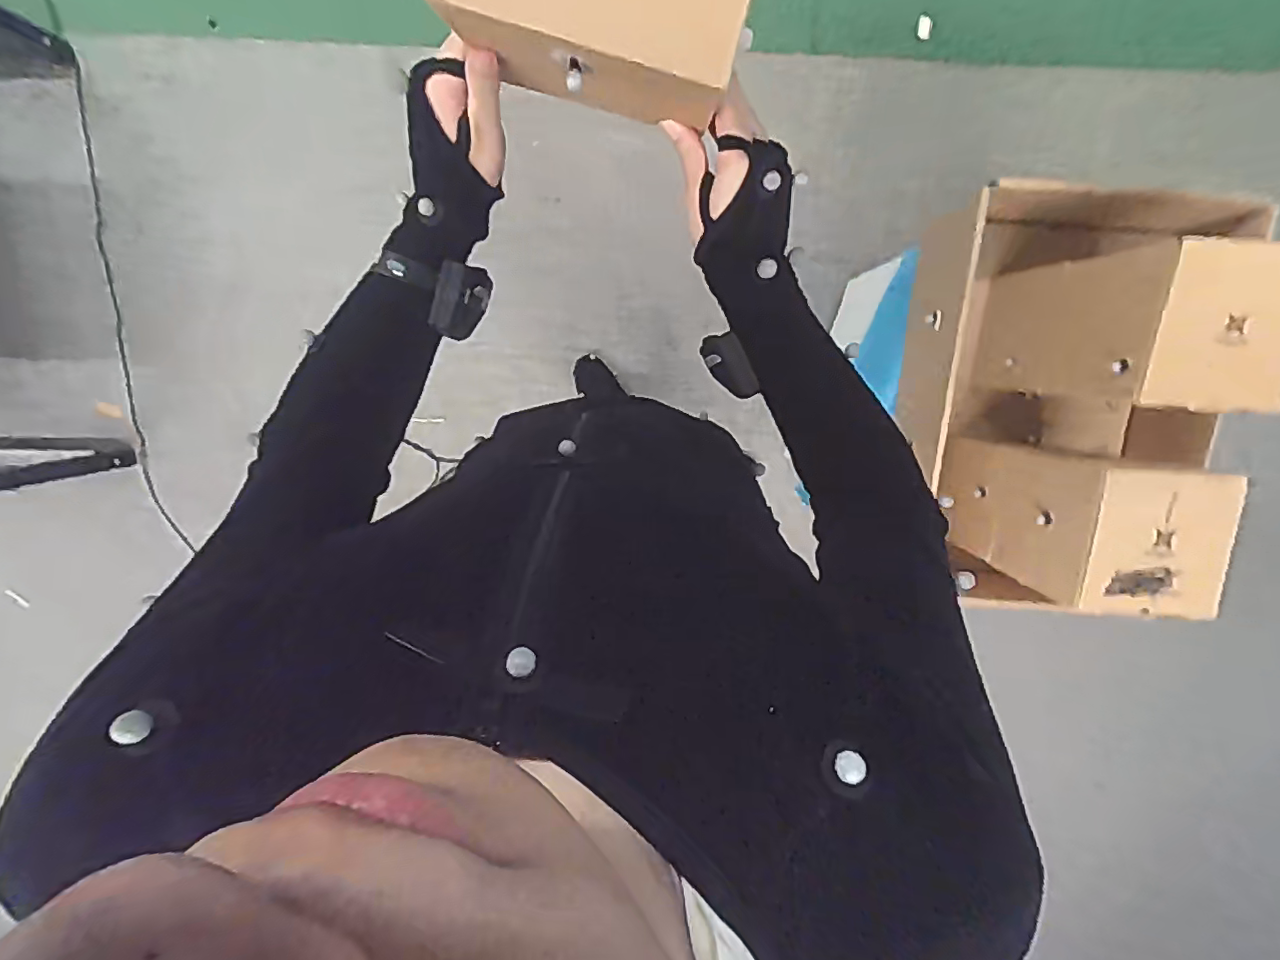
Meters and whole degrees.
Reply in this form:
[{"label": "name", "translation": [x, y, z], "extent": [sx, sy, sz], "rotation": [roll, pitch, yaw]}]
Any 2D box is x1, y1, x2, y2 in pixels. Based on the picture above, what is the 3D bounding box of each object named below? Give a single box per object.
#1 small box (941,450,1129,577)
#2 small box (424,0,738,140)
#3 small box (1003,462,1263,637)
[{"label": "small box", "translation": [0.607, 0.050, 0.853], "extent": [0.168, 0.176, 0.179], "rotation": [5, 100, 0]}, {"label": "small box", "translation": [-0.021, -0.339, 0.339], "extent": [0.179, 0.176, 0.168], "rotation": [14, 112, -6]}, {"label": "small box", "translation": [0.605, 0.079, 0.692], "extent": [0.168, 0.176, 0.179], "rotation": [4, 99, 0]}]
